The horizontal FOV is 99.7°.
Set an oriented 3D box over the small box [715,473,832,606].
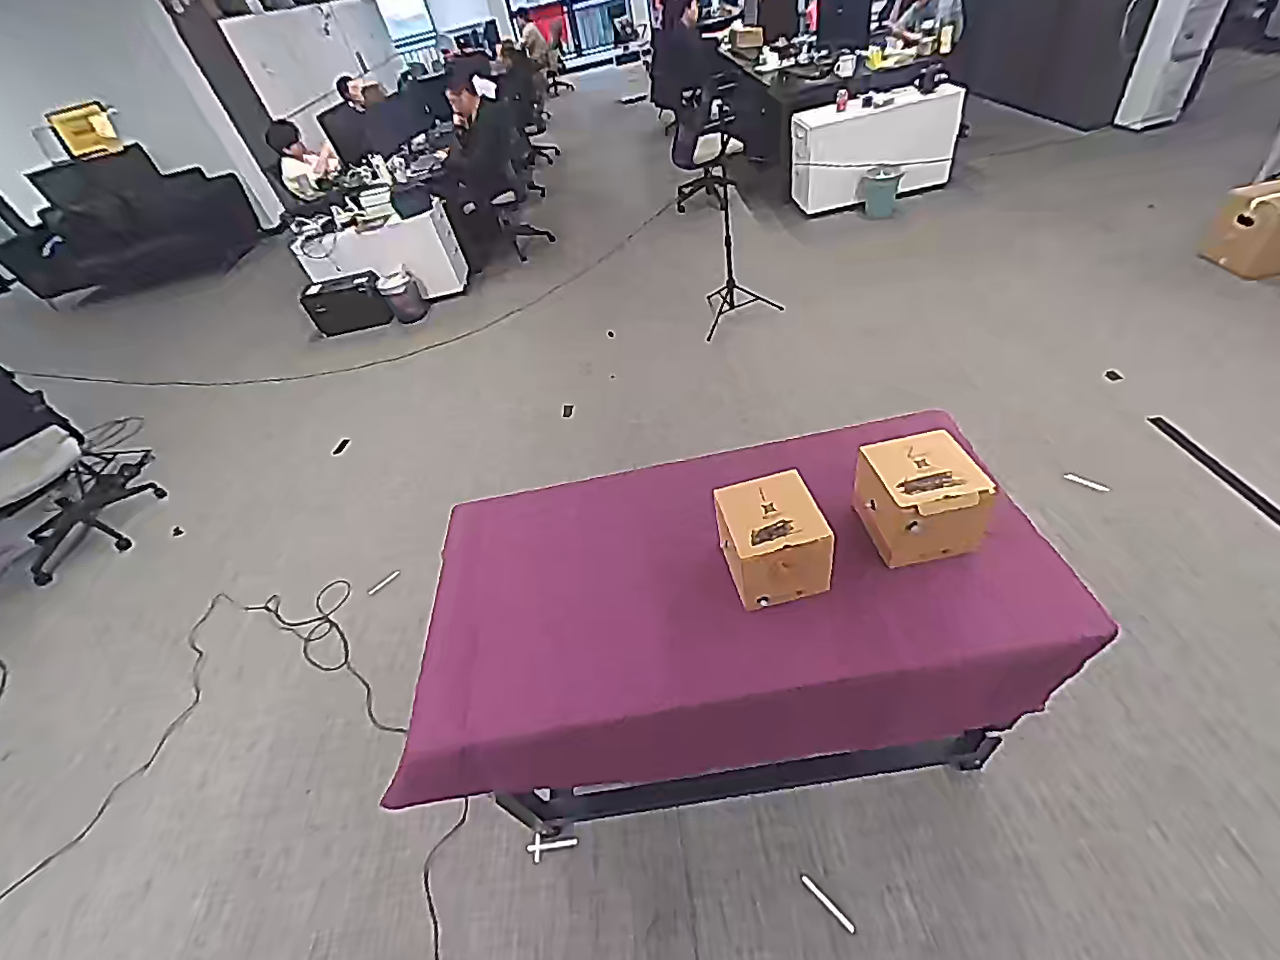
[{"bbox_3d":[0.250,0.119,1.025,0.168,0.176,0.179,-14,43,0],"label":"small box"}]
